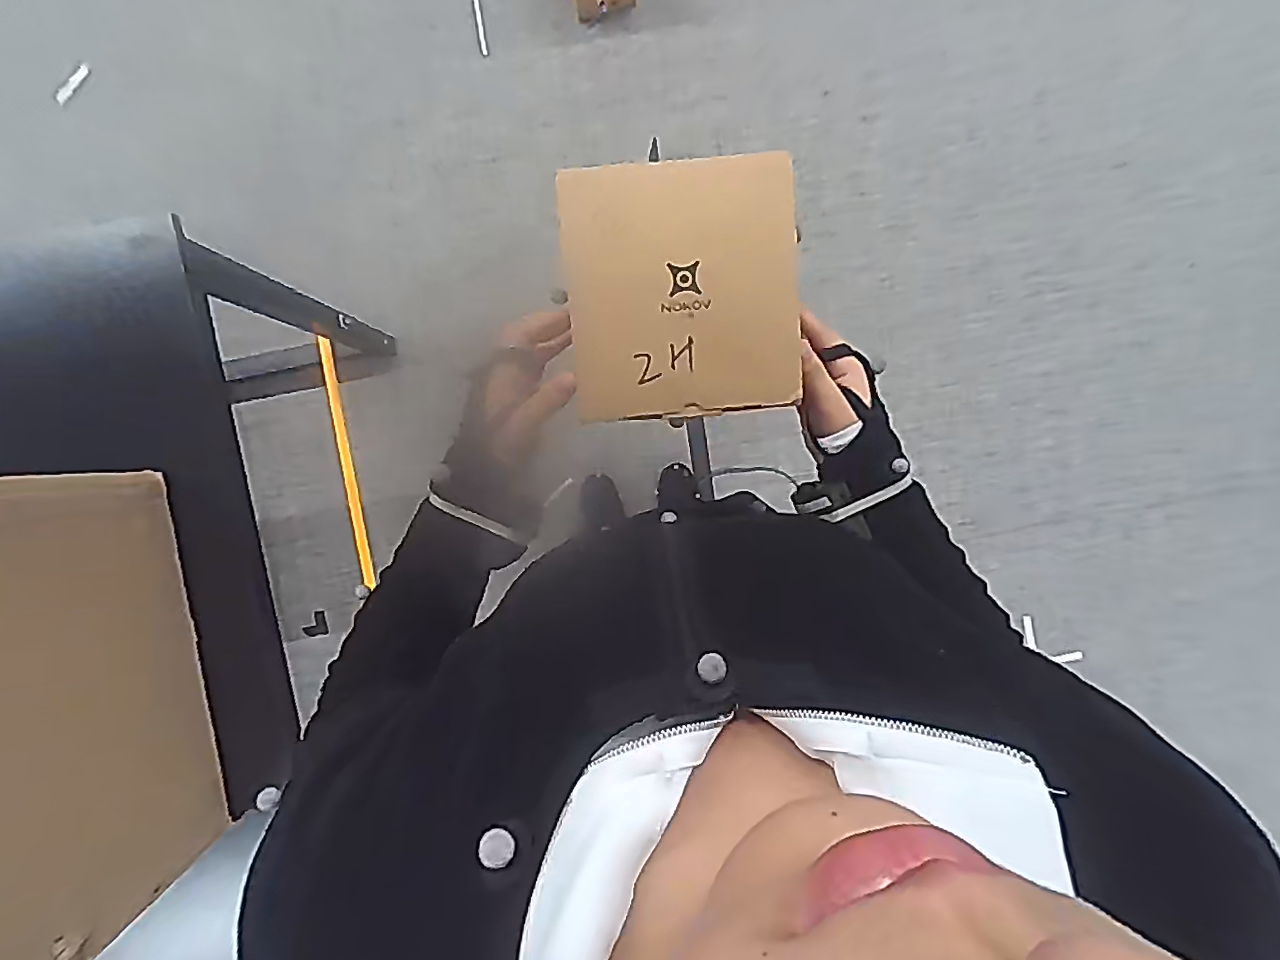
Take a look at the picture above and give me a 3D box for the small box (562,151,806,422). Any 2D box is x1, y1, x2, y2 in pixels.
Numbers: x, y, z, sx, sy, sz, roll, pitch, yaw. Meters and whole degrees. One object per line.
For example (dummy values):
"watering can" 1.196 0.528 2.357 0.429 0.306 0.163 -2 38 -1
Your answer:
"small box" 0.030 -0.144 0.457 0.168 0.176 0.179 -5 99 0

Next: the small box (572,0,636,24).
"small box" -0.107 -1.312 1.356 0.168 0.176 0.179 -17 94 1
